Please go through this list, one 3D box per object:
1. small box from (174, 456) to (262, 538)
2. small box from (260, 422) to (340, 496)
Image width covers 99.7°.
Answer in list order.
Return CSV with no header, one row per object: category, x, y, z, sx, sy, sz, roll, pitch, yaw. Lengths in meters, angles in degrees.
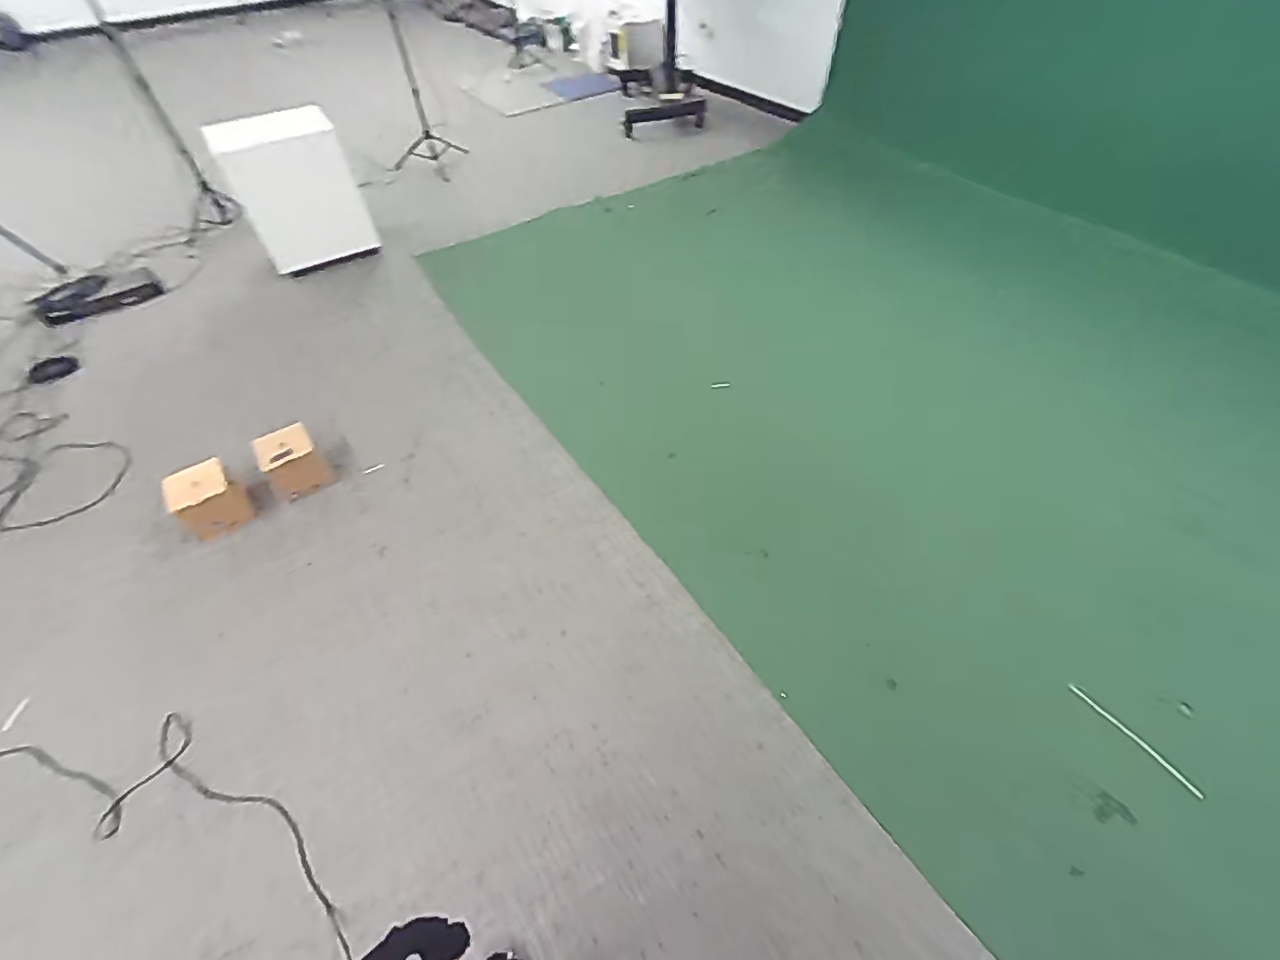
small box,-1.402,0.058,1.800,0.168,0.176,0.179,-29,56,-20
small box,-1.186,-0.066,1.894,0.168,0.176,0.179,-29,55,-21
